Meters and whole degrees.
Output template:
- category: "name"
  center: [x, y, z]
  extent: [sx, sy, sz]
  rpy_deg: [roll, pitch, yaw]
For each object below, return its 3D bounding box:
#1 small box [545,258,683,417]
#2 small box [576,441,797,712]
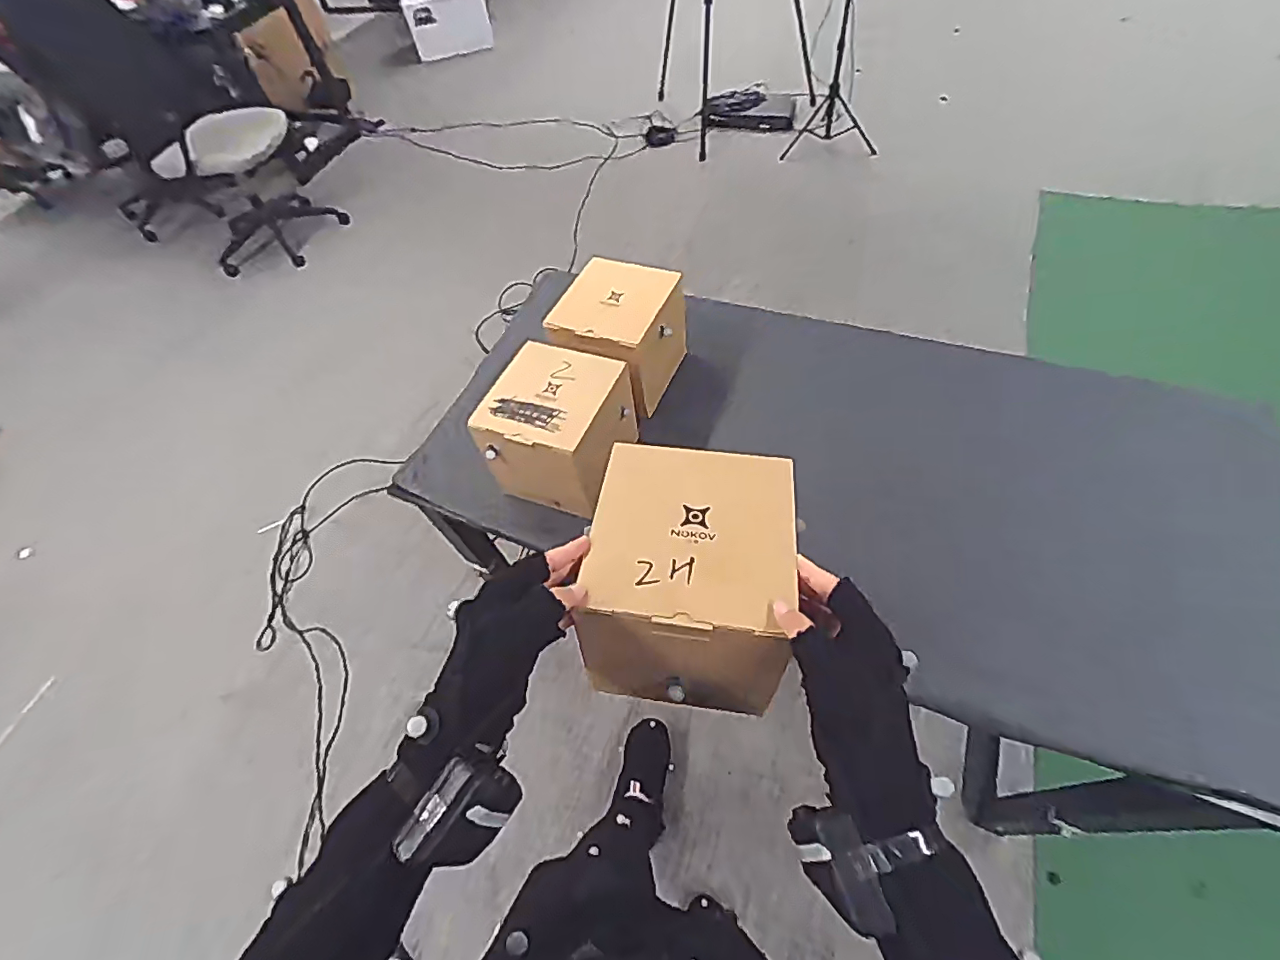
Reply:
- category: "small box"
  center: [-0.034, -0.238, 0.912]
  extent: [0.168, 0.176, 0.179]
  rpy_deg: [18, 61, 18]
- category: "small box"
  center: [0.046, 0.090, 0.504]
  extent: [0.168, 0.176, 0.179]
  rpy_deg: [6, 49, 7]
